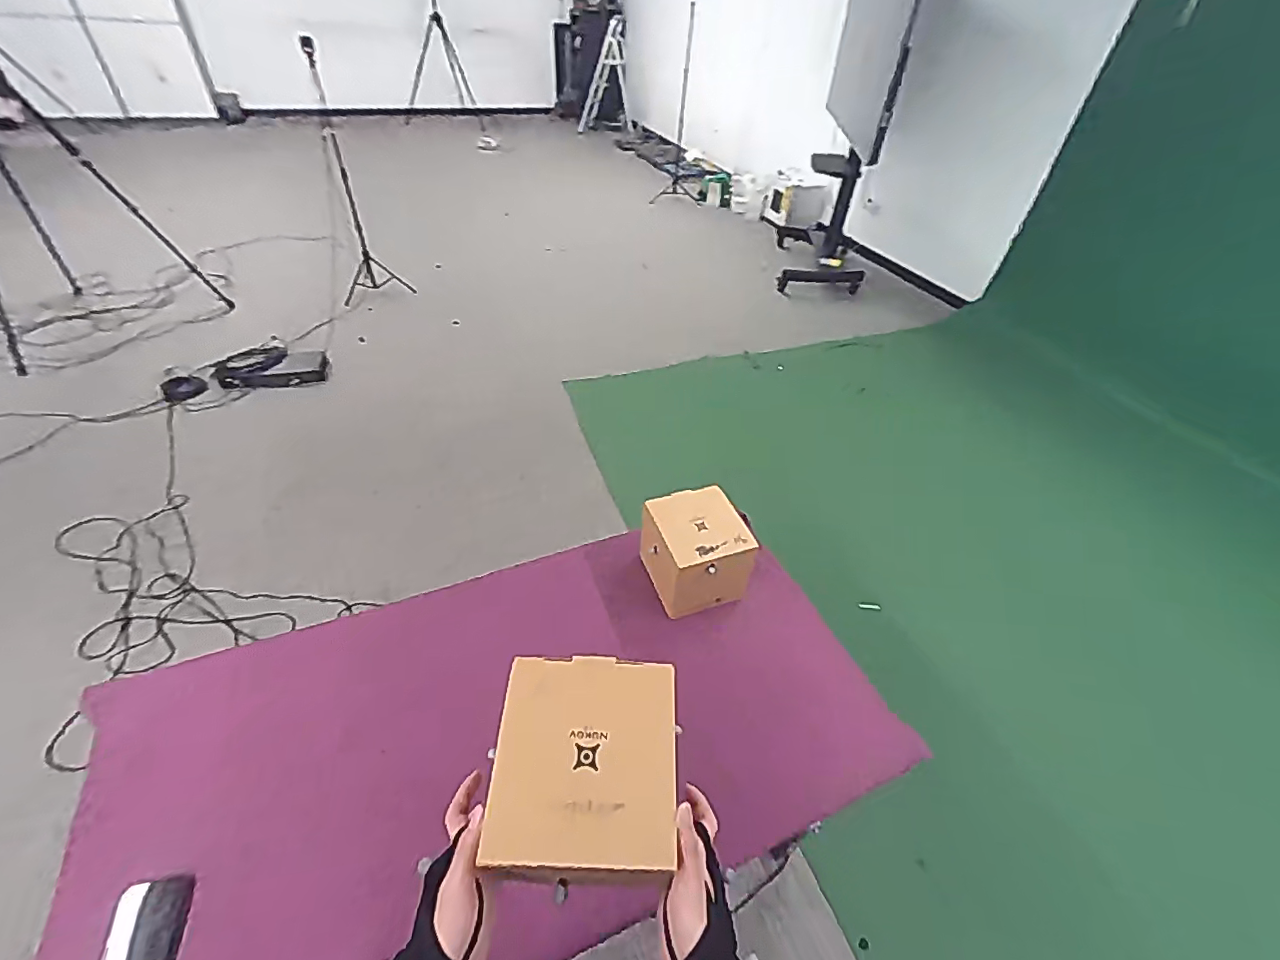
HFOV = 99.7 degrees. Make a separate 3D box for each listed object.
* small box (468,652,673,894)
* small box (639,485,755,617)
[{"bbox_3d":[-0.058,0.295,0.543,0.168,0.176,0.179,4,49,-1],"label":"small box"},{"bbox_3d":[0.102,0.140,1.078,0.168,0.176,0.179,-13,45,-17],"label":"small box"}]
